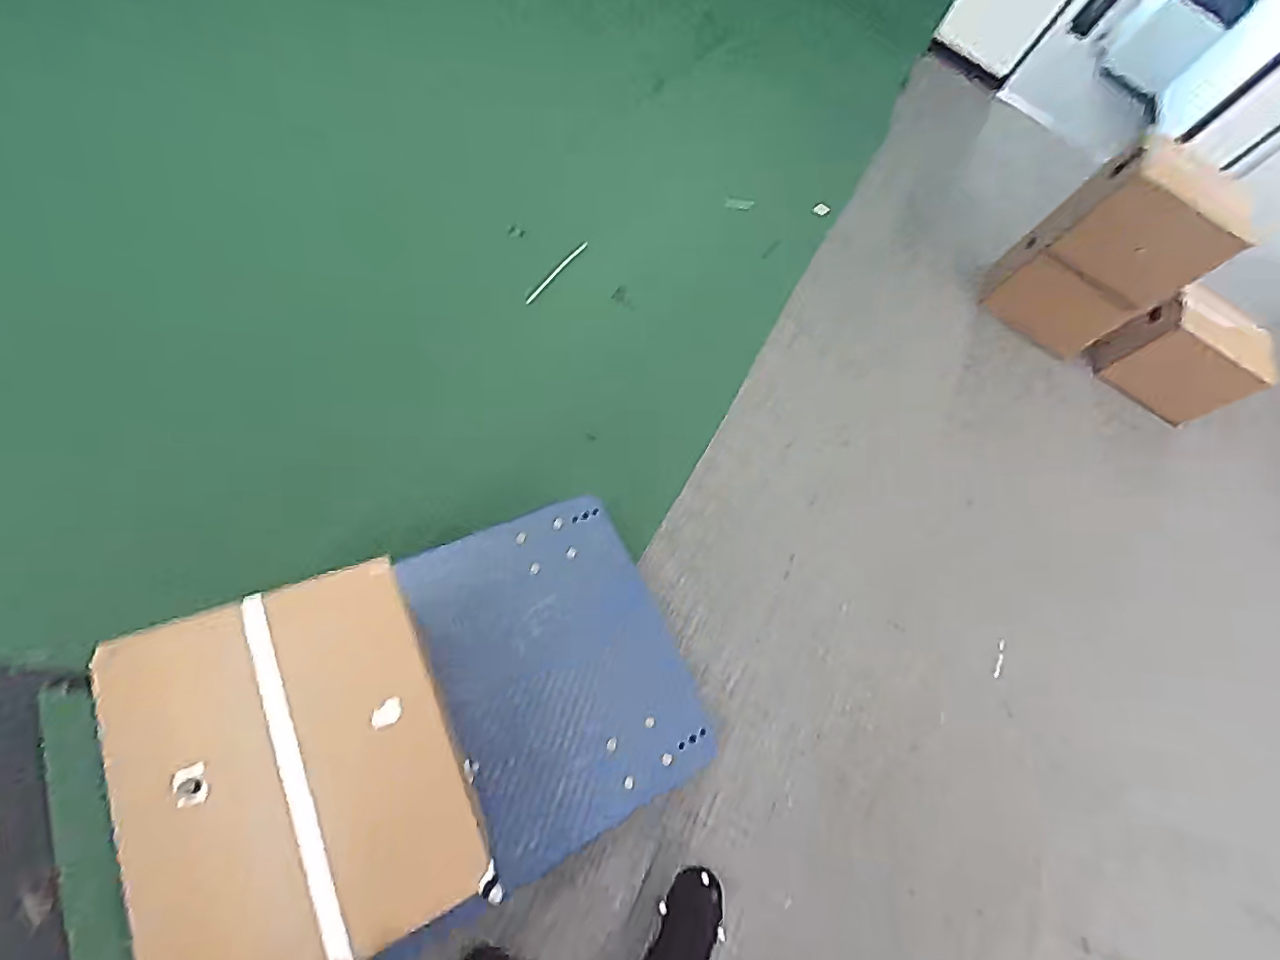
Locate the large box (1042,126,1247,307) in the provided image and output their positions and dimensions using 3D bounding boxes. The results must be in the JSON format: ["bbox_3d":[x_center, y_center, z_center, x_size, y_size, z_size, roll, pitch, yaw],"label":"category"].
[{"bbox_3d":[1.660,-0.862,1.796,0.408,0.320,0.320,33,63,2],"label":"large box"}]
